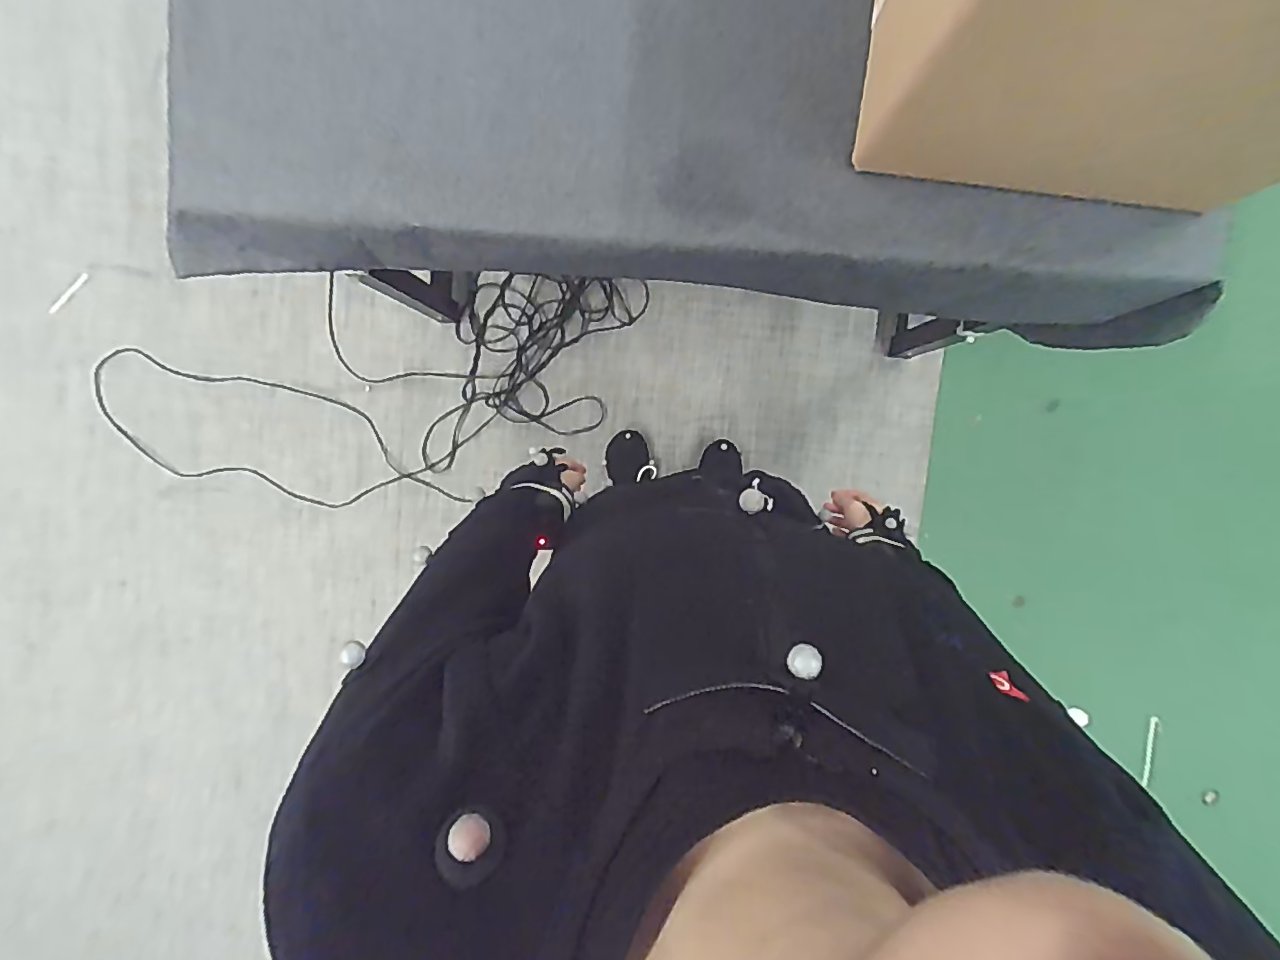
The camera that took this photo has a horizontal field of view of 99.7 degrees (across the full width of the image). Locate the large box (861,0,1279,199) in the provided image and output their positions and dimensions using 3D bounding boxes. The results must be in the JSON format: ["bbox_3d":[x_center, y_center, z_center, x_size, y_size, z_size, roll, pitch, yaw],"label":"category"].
[{"bbox_3d":[0.448,-0.467,0.439,0.408,0.320,0.320,7,95,0],"label":"large box"}]
